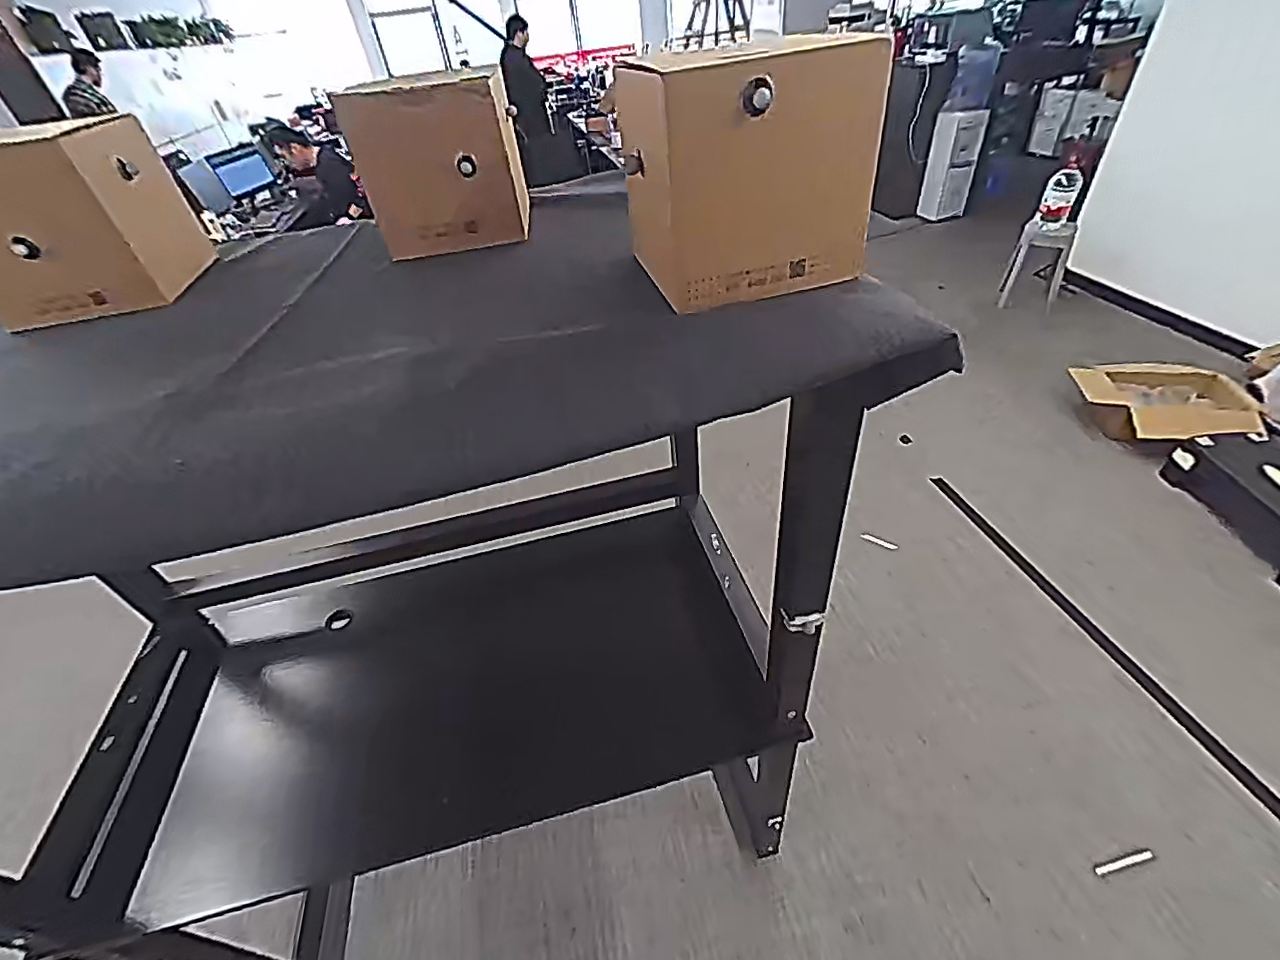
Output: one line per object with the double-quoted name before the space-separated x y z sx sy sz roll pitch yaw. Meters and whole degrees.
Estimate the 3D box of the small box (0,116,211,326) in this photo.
"small box" -0.633 -0.284 0.604 0.168 0.176 0.179 -13 42 -8

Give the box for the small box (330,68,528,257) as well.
"small box" -0.236 -0.383 0.660 0.168 0.176 0.179 -9 40 -3

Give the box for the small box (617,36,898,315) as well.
"small box" 0.084 -0.262 0.466 0.168 0.176 0.179 -14 40 -6
